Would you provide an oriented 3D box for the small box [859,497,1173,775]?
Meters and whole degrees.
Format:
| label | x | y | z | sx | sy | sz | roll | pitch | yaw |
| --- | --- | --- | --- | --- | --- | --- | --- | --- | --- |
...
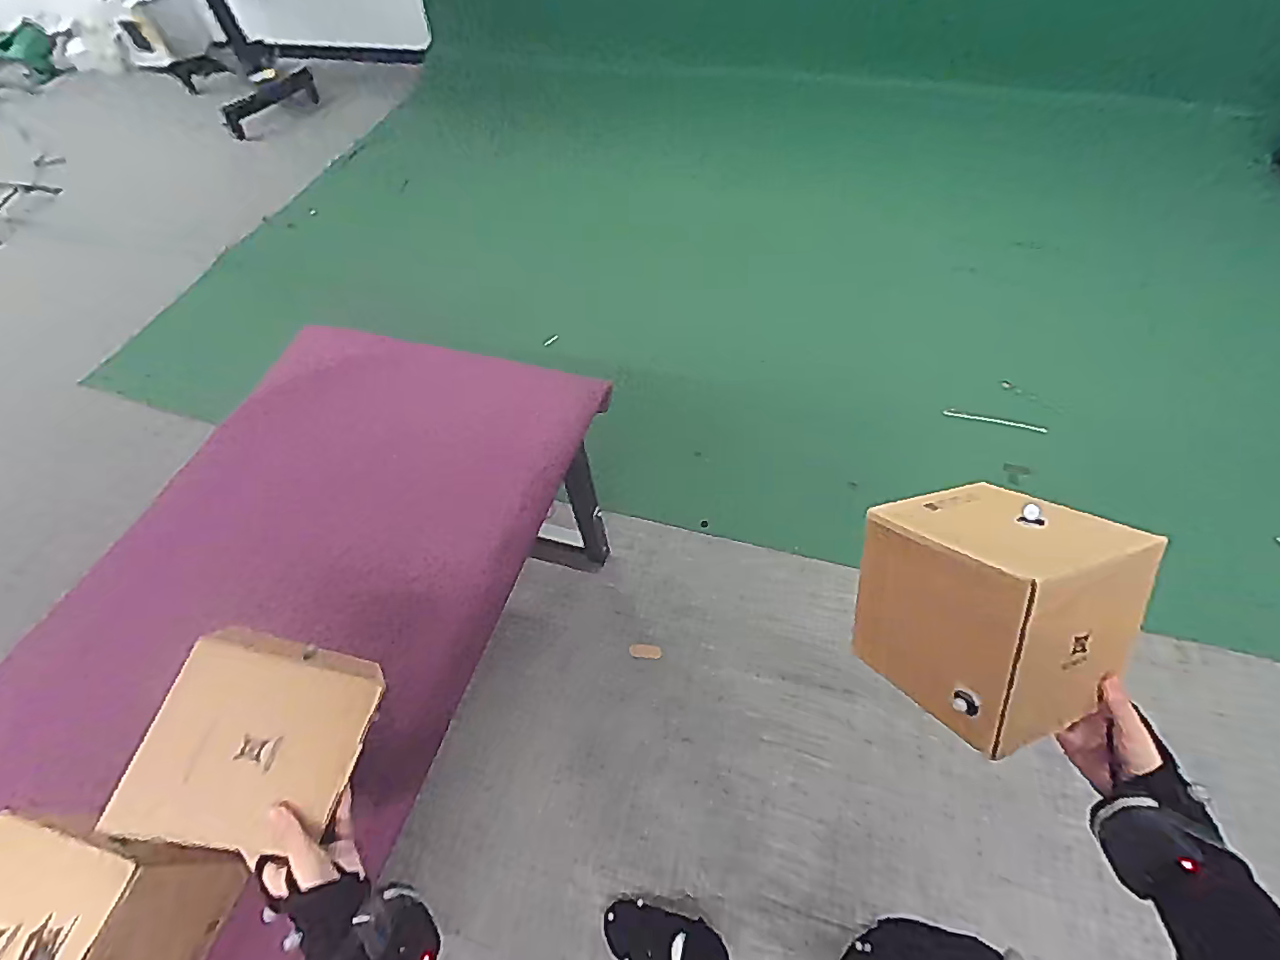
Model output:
| label | x | y | z | sx | sy | sz | roll | pitch | yaw |
| --- | --- | --- | --- | --- | --- | --- | --- | --- | --- |
| small box | 0.333 | 0.125 | 0.511 | 0.168 | 0.179 | 0.176 | -10 | 22 | -20 |

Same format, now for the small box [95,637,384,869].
| label | x | y | z | sx | sy | sz | roll | pitch | yaw |
| --- | --- | --- | --- | --- | --- | --- | --- | --- | --- |
| small box | -0.397 | 0.276 | 0.578 | 0.179 | 0.176 | 0.168 | 24 | 72 | -21 |
